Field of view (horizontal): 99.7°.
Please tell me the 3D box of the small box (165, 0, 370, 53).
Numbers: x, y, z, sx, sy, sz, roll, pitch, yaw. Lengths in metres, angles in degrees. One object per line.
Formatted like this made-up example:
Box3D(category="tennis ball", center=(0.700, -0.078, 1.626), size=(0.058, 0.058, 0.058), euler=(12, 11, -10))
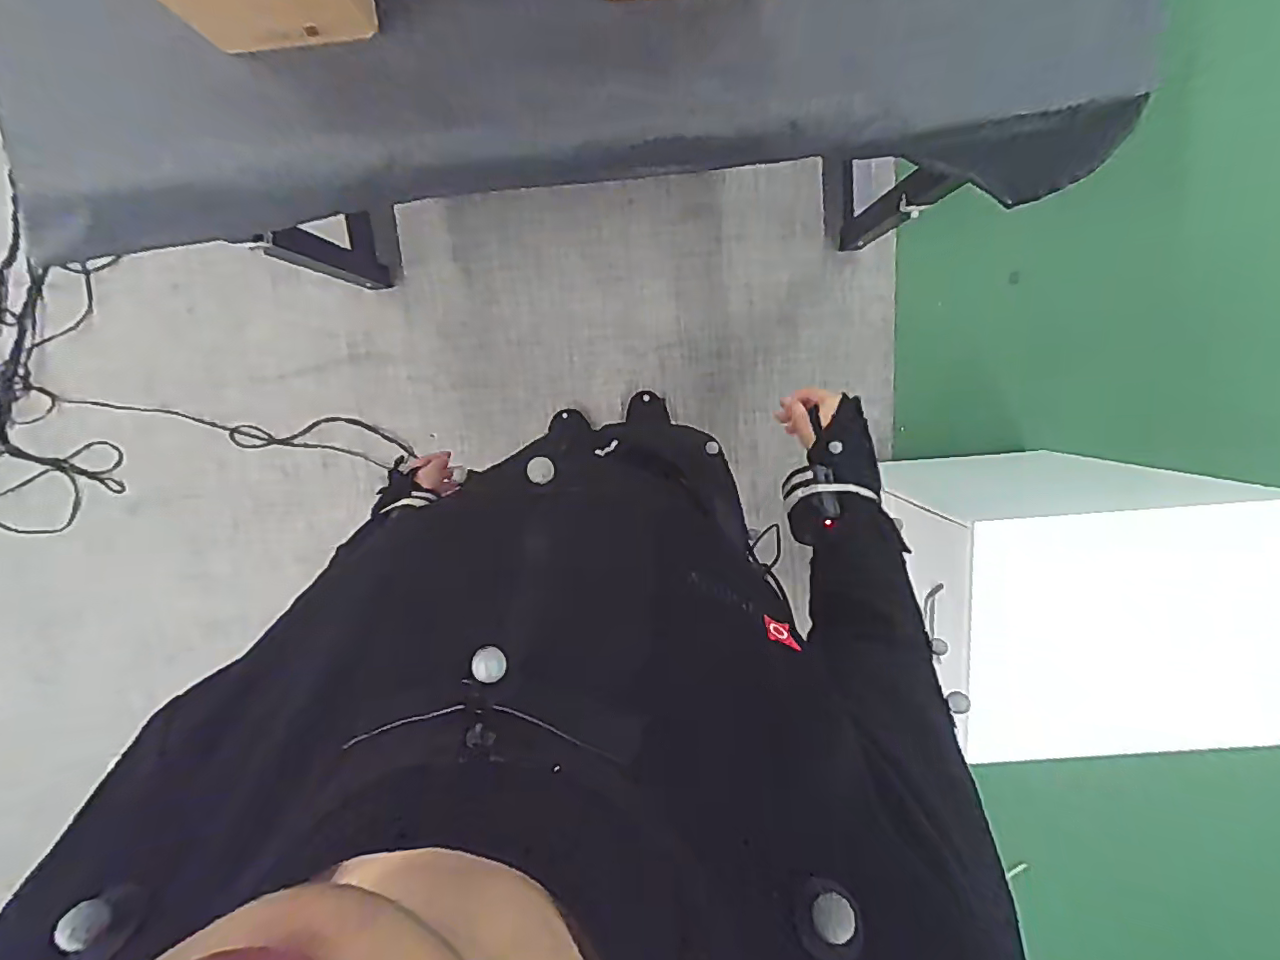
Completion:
Box3D(category="small box", center=(-0.358, -0.514, 0.458), size=(0.168, 0.176, 0.179), euler=(-6, 99, 0))
